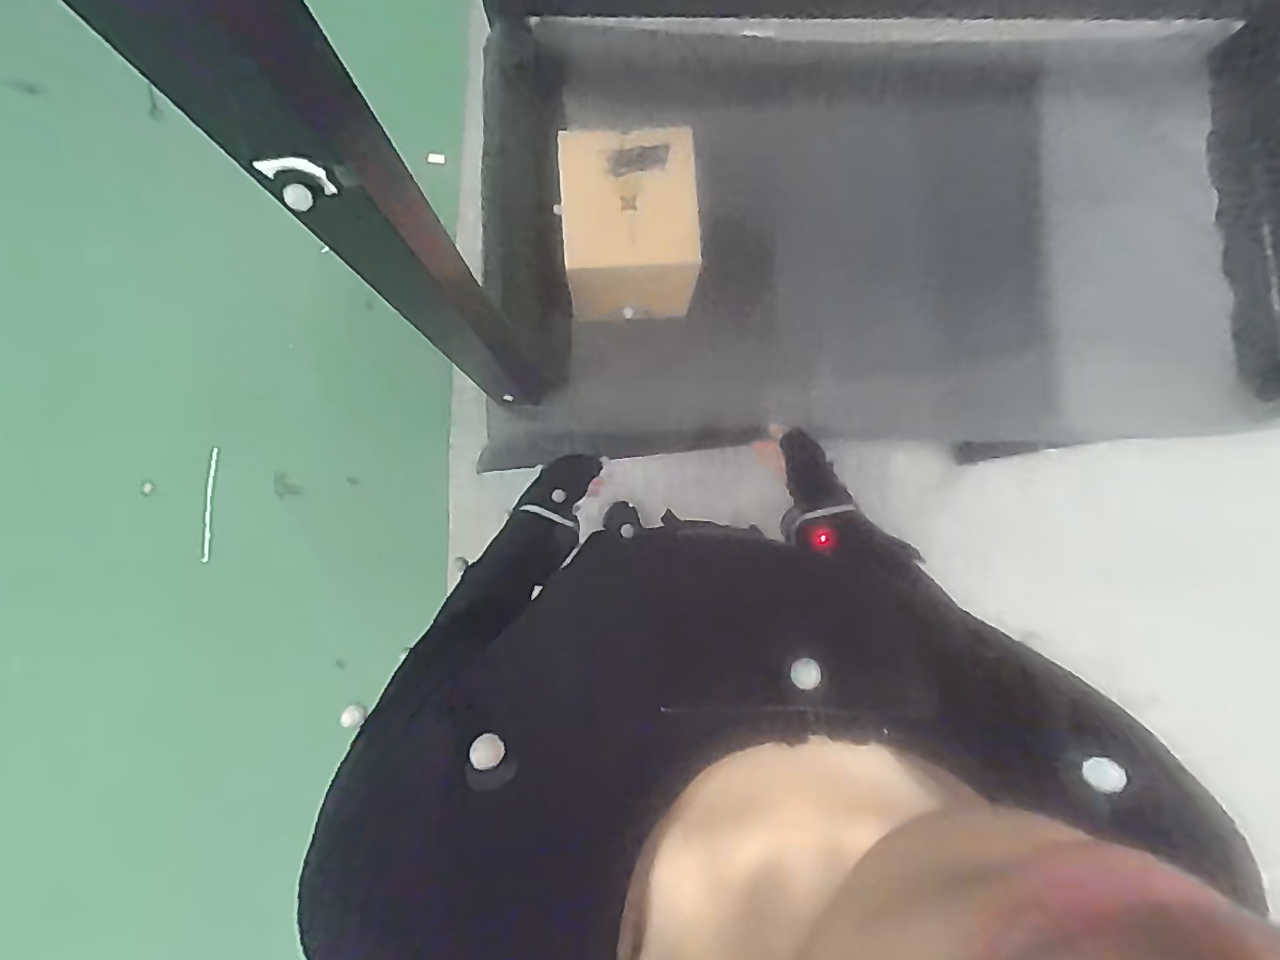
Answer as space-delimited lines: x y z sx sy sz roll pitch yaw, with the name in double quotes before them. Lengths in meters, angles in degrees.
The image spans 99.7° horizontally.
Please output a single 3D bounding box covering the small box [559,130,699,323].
"small box" -0.017 -0.329 0.727 0.168 0.176 0.179 -3 85 -1
